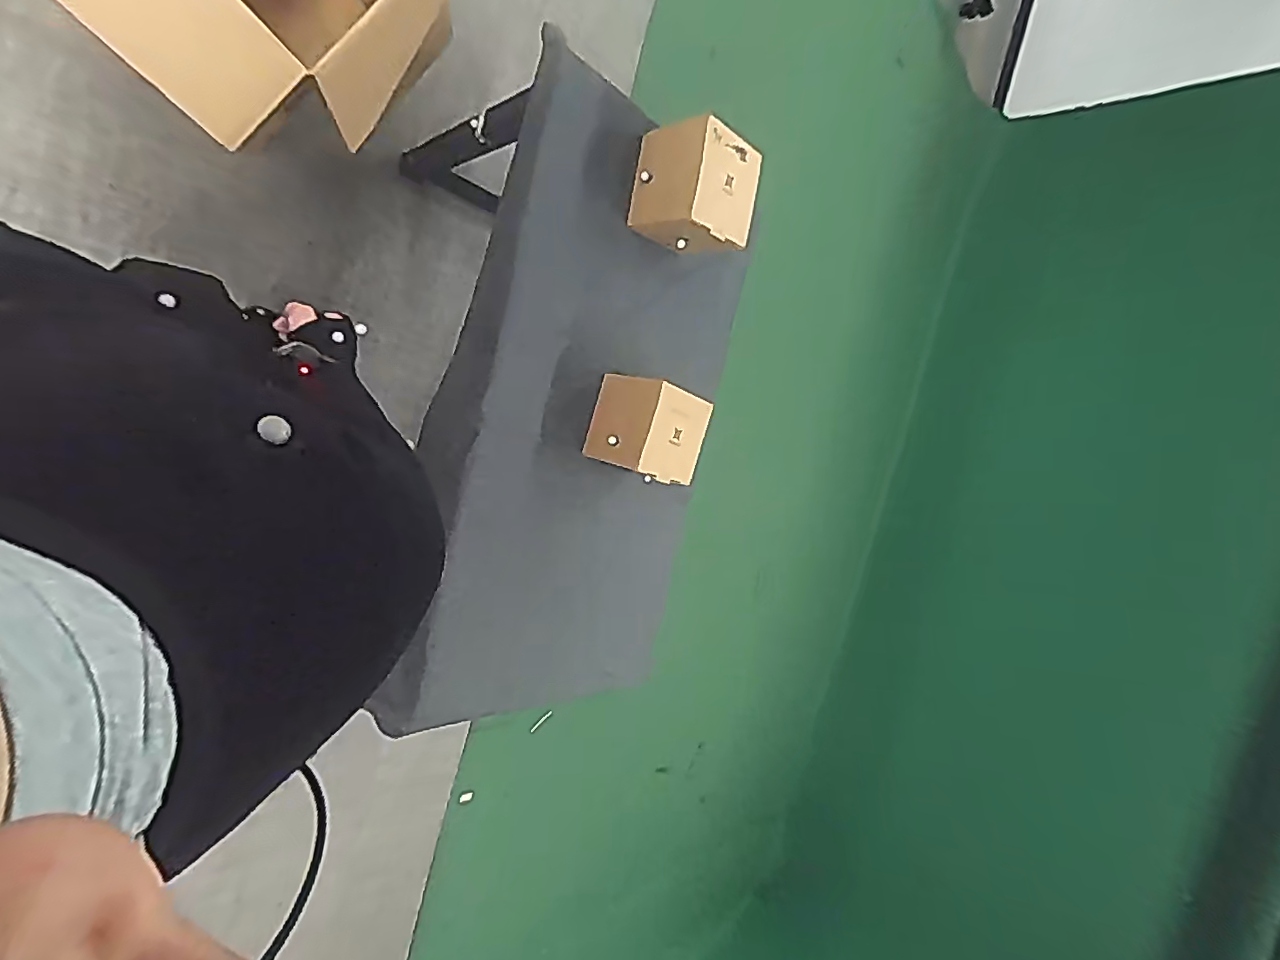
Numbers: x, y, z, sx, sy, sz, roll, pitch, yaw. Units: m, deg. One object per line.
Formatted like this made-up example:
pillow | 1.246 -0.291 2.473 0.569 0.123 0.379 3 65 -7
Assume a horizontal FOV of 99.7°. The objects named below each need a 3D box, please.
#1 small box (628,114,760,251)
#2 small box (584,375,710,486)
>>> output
small box | 0.098 -0.551 1.035 0.168 0.176 0.179 2 103 -46
small box | 0.009 -0.102 1.096 0.168 0.176 0.179 14 92 -48
